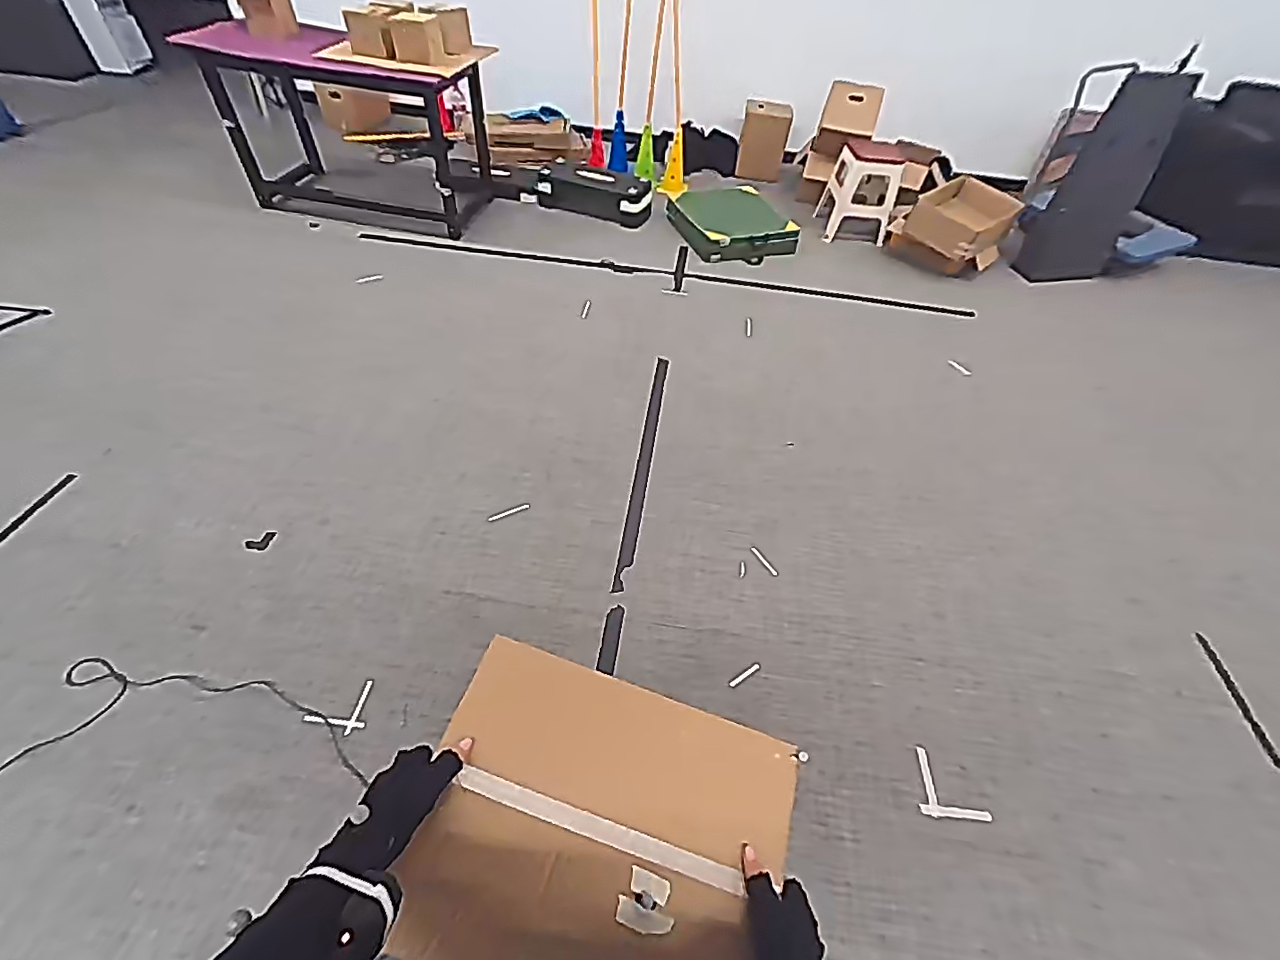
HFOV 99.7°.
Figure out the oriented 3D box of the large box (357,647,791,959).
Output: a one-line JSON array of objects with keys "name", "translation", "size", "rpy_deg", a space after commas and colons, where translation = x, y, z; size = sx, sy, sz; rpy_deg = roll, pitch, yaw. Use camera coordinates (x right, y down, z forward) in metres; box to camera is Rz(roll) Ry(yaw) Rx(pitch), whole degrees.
[{"name": "large box", "translation": [-0.065, 0.475, 0.710], "size": [0.408, 0.320, 0.320], "rpy_deg": [19, 54, 4]}]
